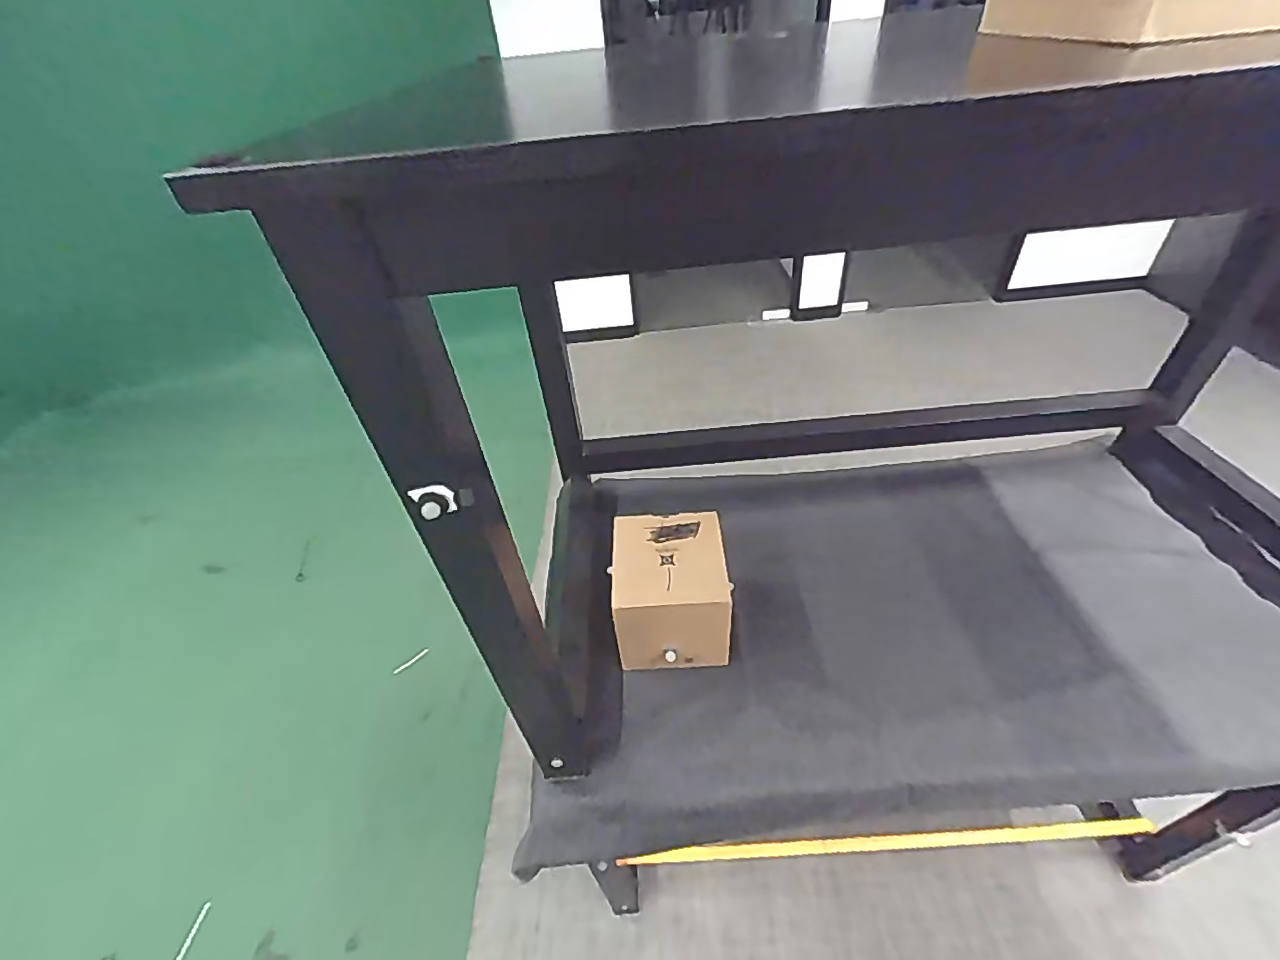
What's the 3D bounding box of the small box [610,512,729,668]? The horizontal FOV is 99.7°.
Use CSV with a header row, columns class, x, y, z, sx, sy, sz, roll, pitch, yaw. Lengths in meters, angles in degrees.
class,x,y,z,sx,sy,sz,roll,pitch,yaw
small box,0.044,0.173,0.849,0.168,0.176,0.179,-4,42,3
